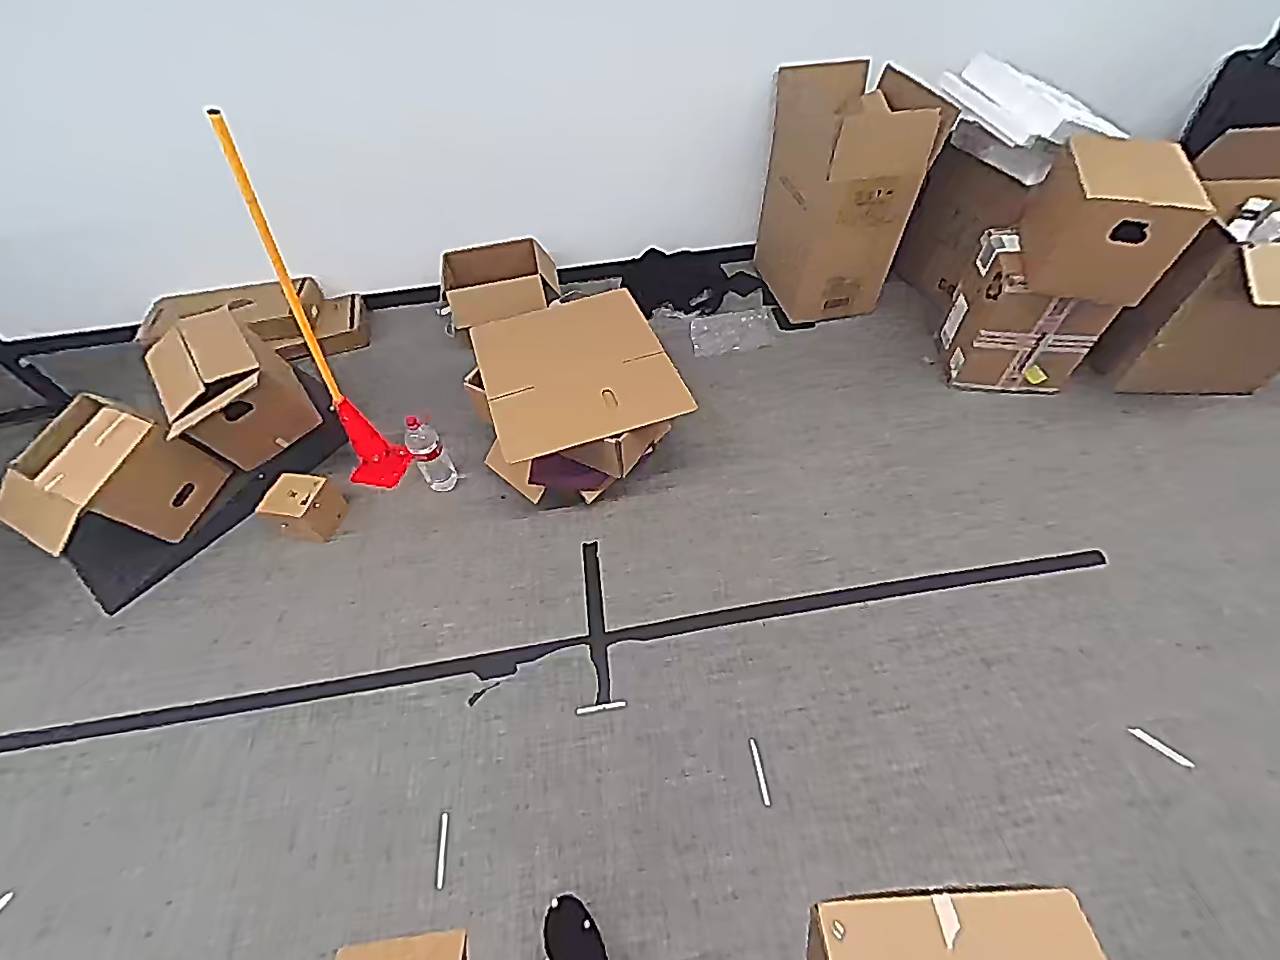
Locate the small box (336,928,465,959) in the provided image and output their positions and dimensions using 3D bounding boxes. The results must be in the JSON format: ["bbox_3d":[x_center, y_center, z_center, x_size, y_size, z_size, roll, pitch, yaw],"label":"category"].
[{"bbox_3d":[-0.310,0.722,0.673,0.168,0.176,0.179,1,10,-10],"label":"small box"}]
